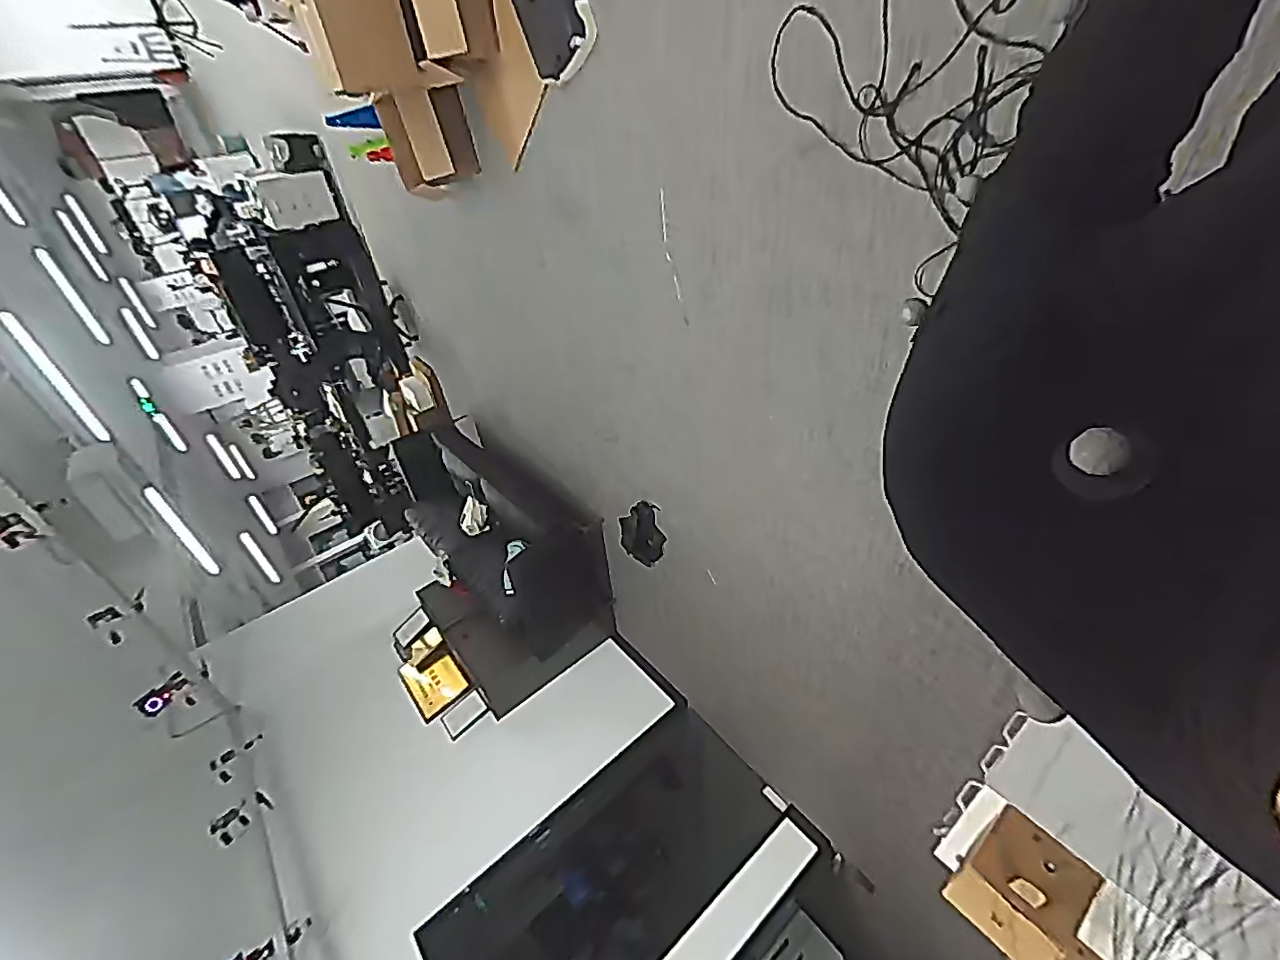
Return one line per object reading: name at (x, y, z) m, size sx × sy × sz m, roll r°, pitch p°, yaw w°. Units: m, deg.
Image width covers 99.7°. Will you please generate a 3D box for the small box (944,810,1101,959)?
small box at (0.723, 0.779, 1.027) m, size 0.168 × 0.176 × 0.179 m, roll 36°, pitch 144°, yaw 39°
